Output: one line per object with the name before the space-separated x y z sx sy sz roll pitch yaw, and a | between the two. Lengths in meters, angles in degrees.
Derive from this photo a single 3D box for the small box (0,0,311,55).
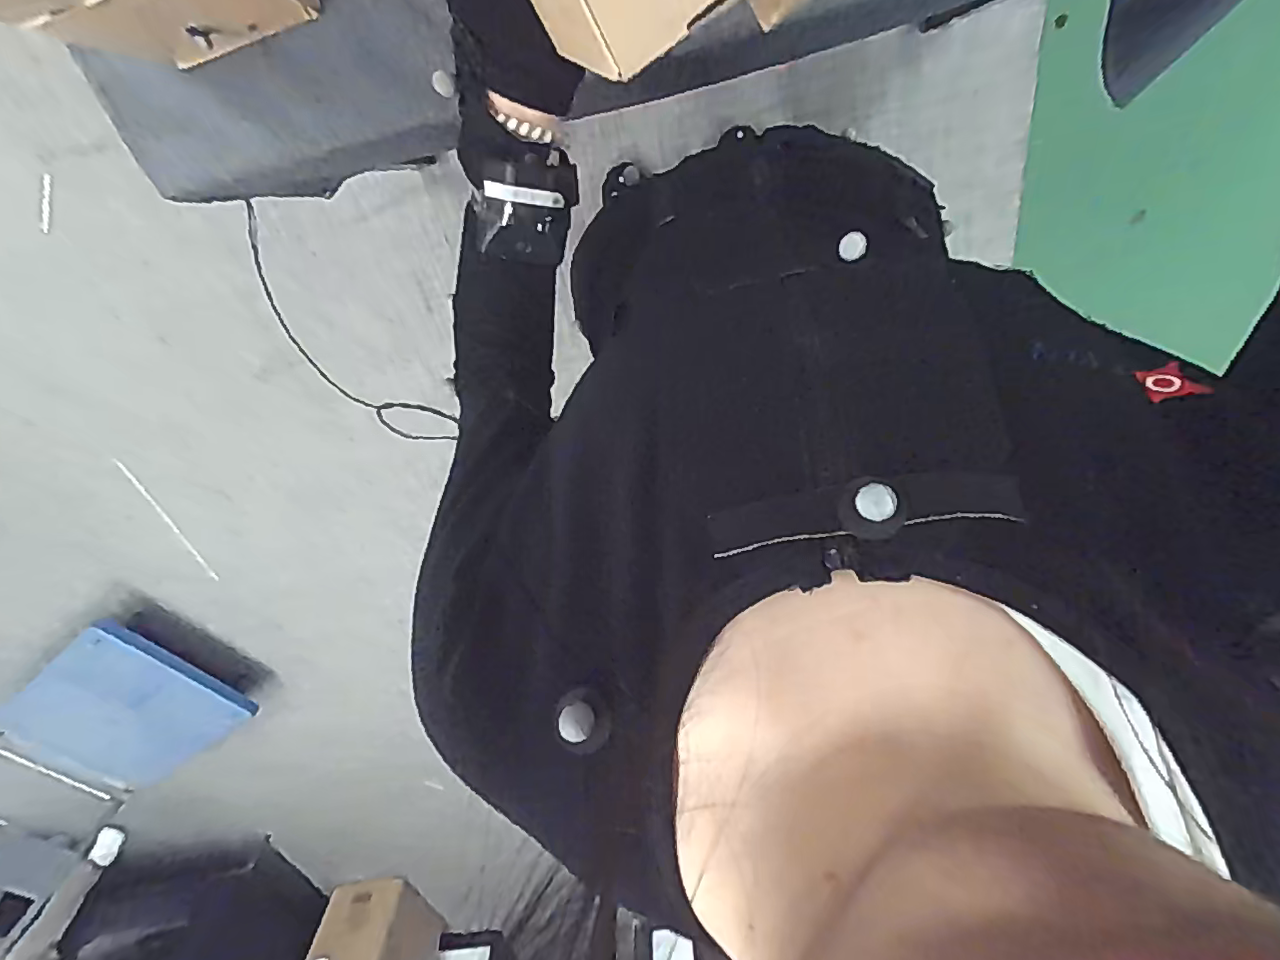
small box | -0.406 -0.468 0.415 0.168 0.176 0.179 -14 120 8

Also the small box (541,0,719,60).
small box | 0.003 -0.293 0.189 0.168 0.176 0.179 -30 133 10
